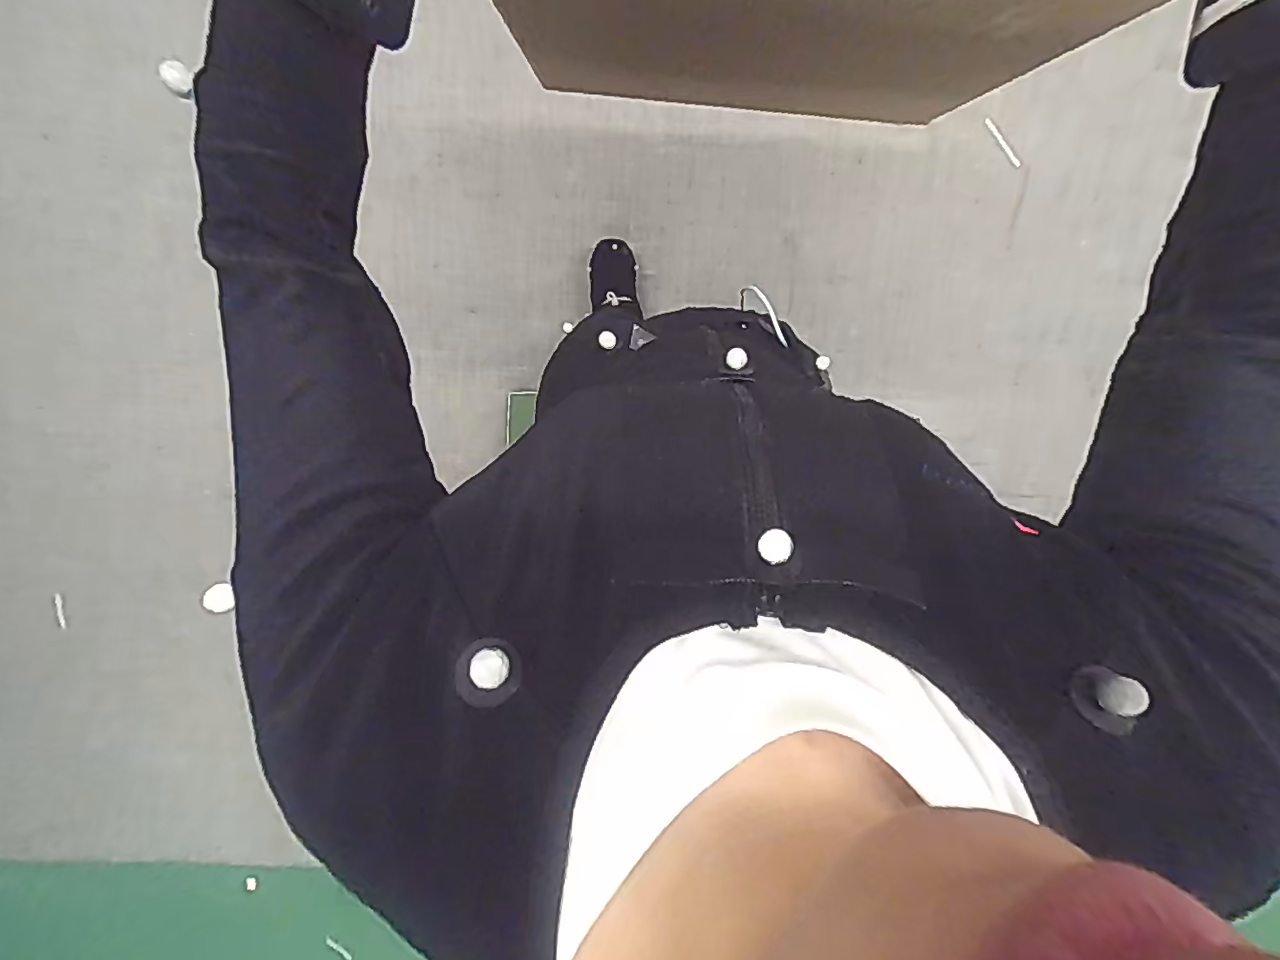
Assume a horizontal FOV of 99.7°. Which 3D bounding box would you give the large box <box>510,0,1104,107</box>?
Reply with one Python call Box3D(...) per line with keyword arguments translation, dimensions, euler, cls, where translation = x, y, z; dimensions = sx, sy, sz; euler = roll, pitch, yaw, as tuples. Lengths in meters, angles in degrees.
Box3D(translation=(0.108, -0.485, 0.367), dimensions=(0.408, 0.320, 0.320), euler=(4, 112, -2), cls="large box")
